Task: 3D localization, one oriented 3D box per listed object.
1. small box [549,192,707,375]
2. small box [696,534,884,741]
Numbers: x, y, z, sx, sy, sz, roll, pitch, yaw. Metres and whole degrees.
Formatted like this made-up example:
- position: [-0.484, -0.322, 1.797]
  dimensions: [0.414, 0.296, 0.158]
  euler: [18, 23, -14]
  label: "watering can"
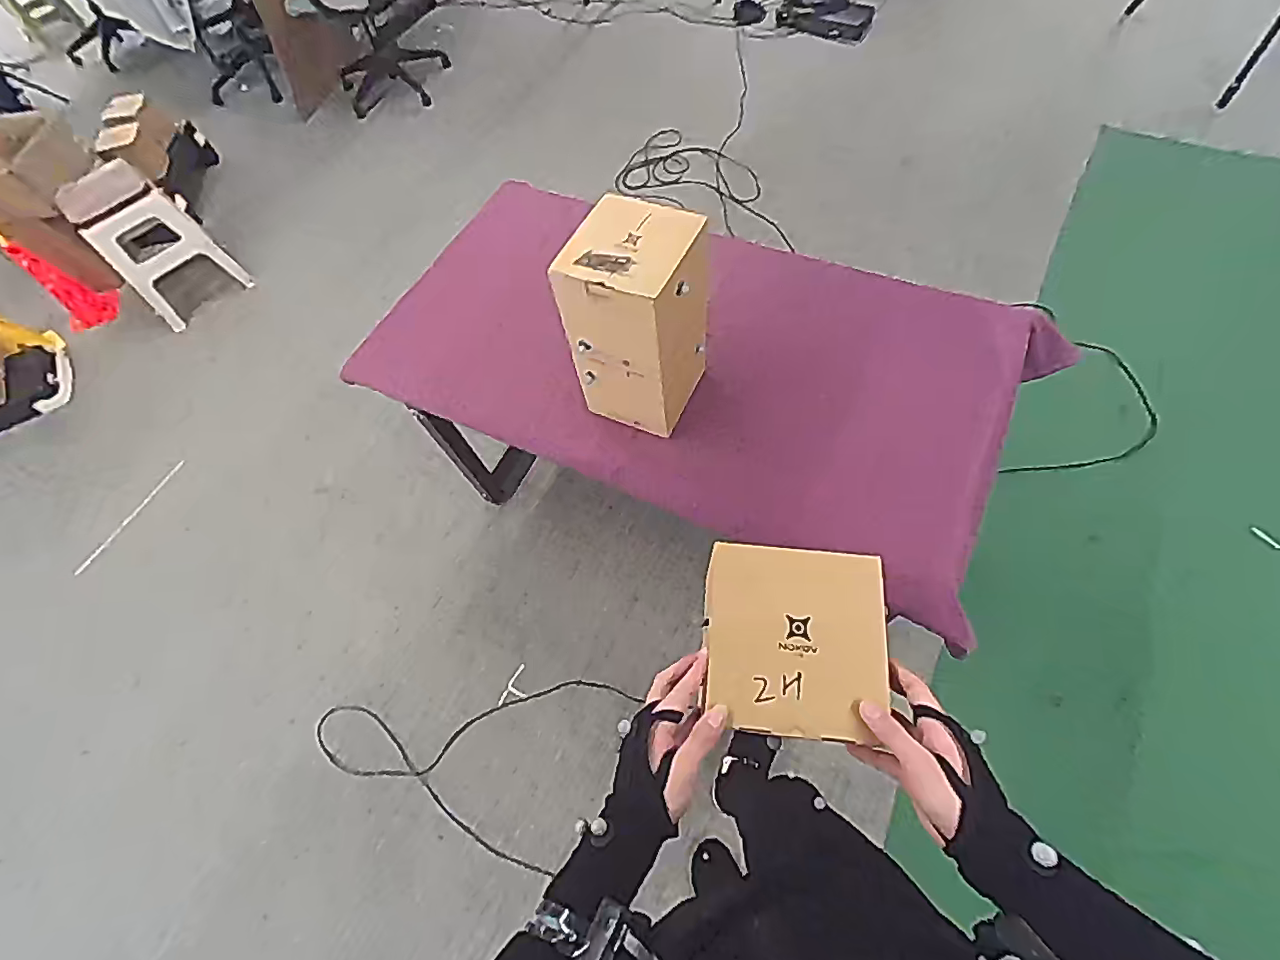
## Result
- position: [-0.008, -0.288, 0.810]
  dimensions: [0.168, 0.176, 0.179]
  euler: [22, 66, 16]
  label: "small box"
- position: [0.152, 0.173, 0.591]
  dimensions: [0.168, 0.176, 0.179]
  euler: [6, 69, 6]
  label: "small box"
